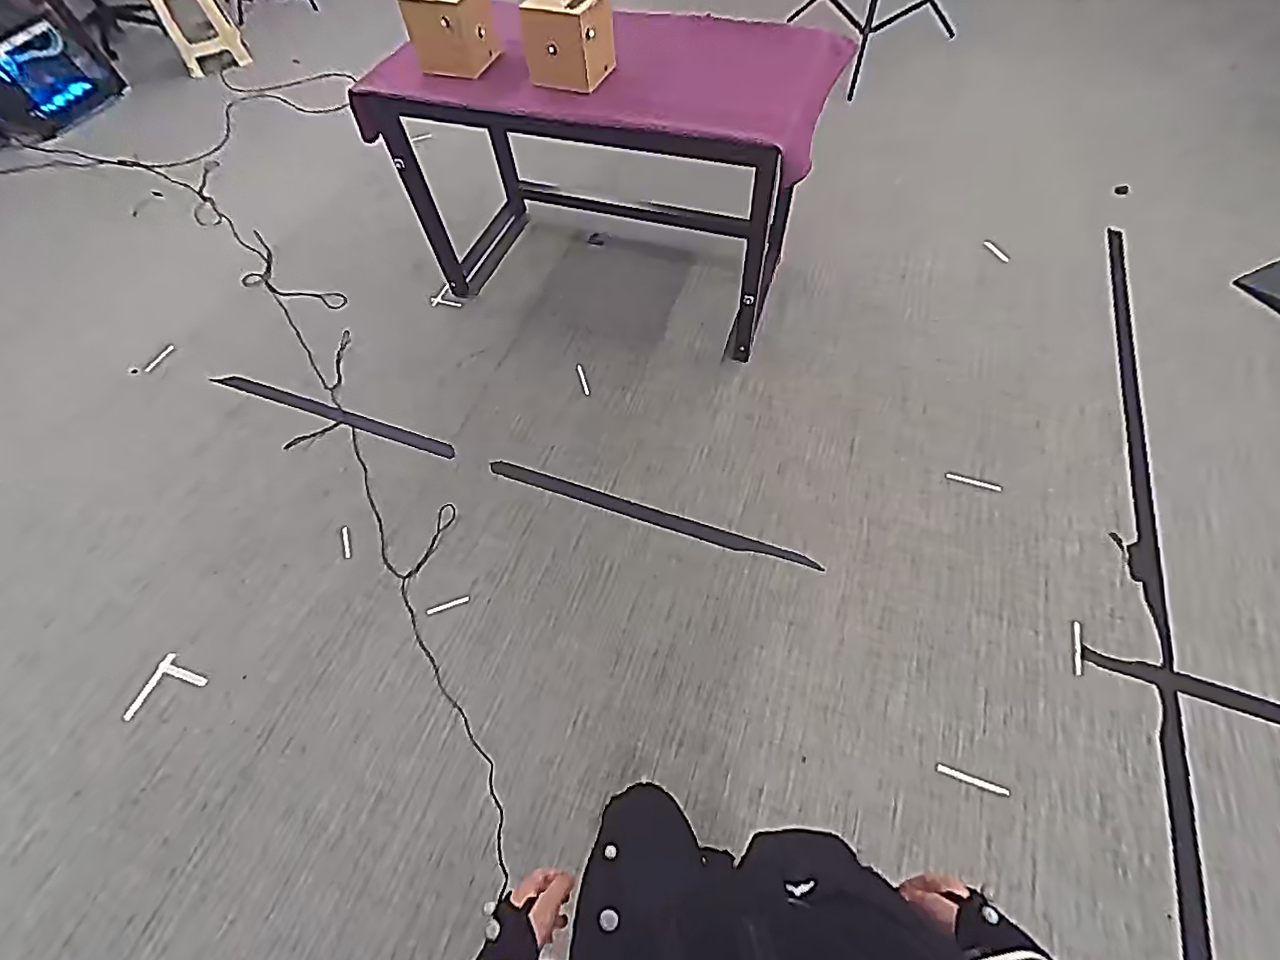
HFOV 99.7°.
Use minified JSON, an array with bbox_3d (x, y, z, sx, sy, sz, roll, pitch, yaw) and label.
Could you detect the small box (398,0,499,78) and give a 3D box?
[{"bbox_3d":[-0.505,-1.220,1.462,0.179,0.176,0.168,14,60,11],"label":"small box"}]
